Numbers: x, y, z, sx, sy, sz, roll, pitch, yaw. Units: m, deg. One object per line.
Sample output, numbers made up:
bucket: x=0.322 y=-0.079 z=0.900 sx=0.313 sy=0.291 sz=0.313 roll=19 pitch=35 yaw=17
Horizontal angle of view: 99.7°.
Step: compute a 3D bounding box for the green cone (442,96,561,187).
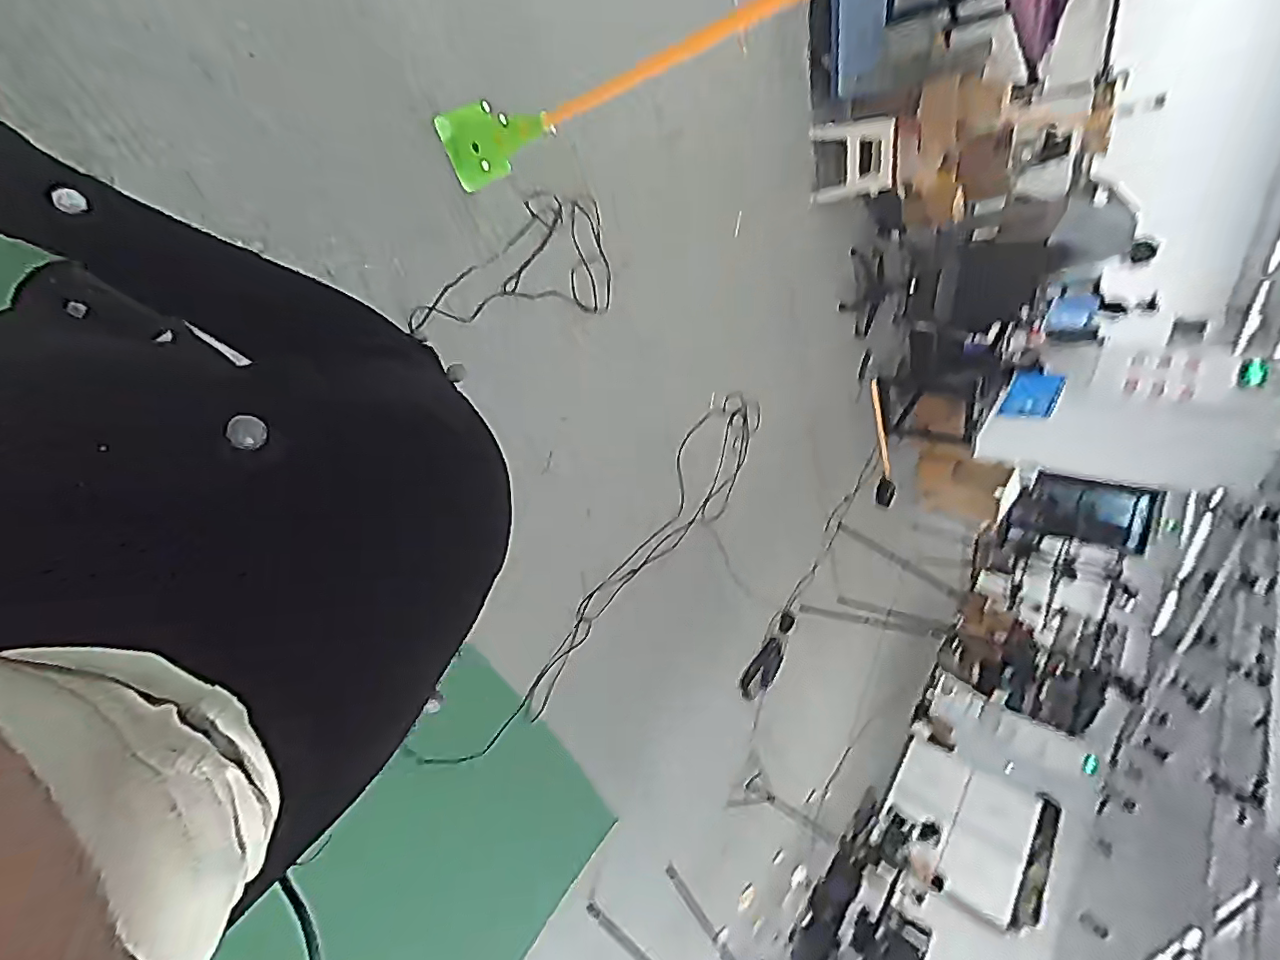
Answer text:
green cone: x=-0.354 y=-0.979 z=1.517 sx=0.200 sy=0.368 sz=0.202 roll=-46 pitch=133 yaw=-28
